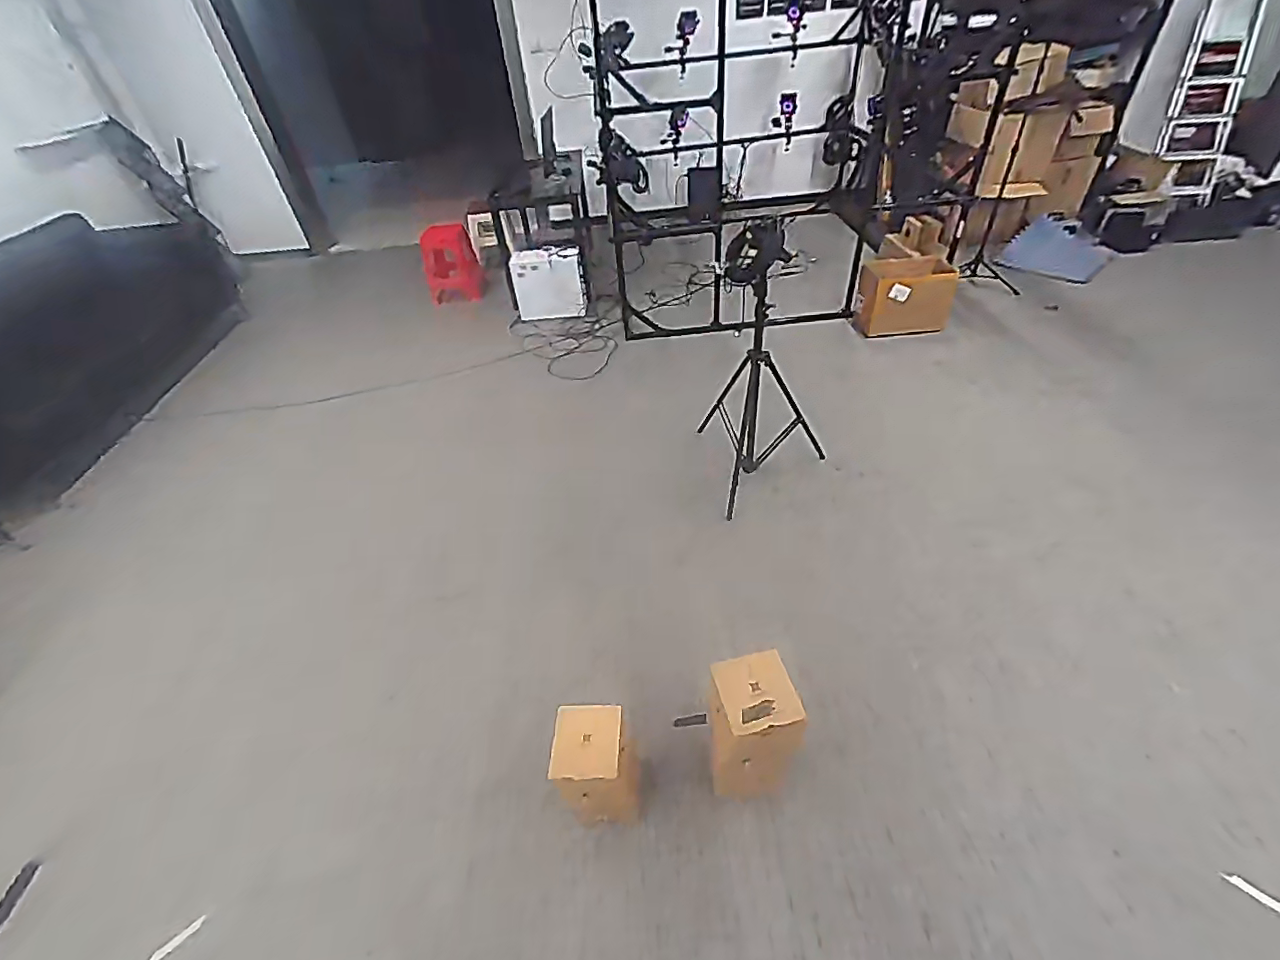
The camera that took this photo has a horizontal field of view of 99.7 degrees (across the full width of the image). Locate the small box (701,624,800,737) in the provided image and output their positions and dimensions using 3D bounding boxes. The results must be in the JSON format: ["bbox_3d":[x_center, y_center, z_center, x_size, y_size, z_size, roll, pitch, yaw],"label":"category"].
[{"bbox_3d":[0.242,0.458,1.220,0.168,0.176,0.179,-11,43,-6],"label":"small box"}]

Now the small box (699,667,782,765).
[{"bbox_3d":[0.240,0.576,1.337,0.168,0.176,0.179,-7,42,-1],"label":"small box"}]

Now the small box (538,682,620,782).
[{"bbox_3d":[-0.142,0.621,1.335,0.168,0.176,0.179,-3,44,5],"label":"small box"}]

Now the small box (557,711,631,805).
[{"bbox_3d":[-0.118,0.740,1.441,0.168,0.176,0.179,-5,43,4],"label":"small box"}]
